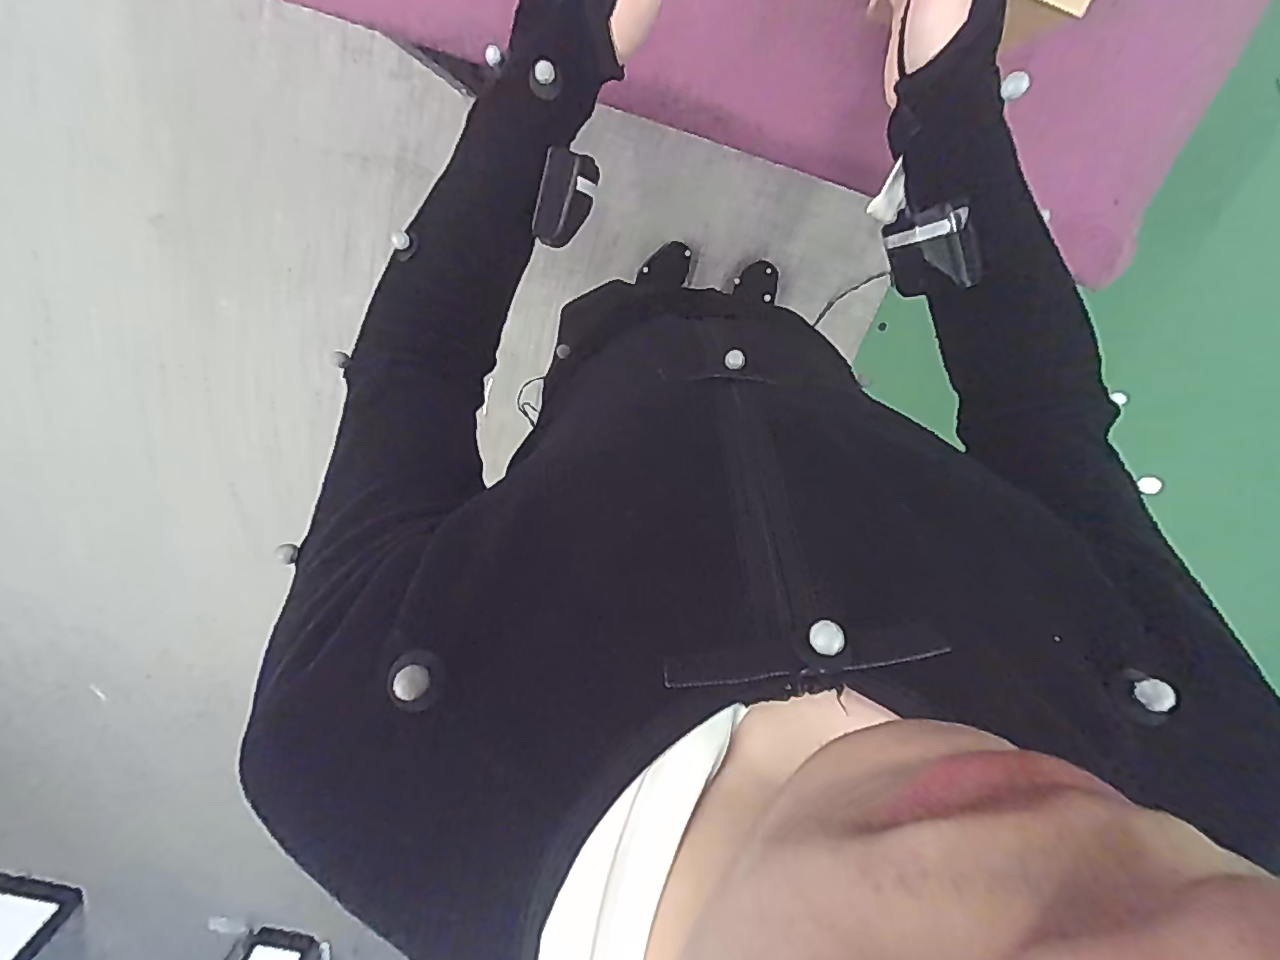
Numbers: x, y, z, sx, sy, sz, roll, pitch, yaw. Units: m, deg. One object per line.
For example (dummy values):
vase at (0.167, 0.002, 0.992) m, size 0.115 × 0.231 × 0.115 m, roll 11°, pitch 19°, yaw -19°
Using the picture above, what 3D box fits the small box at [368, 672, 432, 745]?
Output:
small box at (-0.902, 0.851, 2.025) m, size 0.179 × 0.176 × 0.168 m, roll 17°, pitch 113°, yaw -6°

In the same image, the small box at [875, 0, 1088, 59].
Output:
small box at (0.384, -0.588, 0.571) m, size 0.179 × 0.176 × 0.168 m, roll 18°, pitch 113°, yaw -6°
